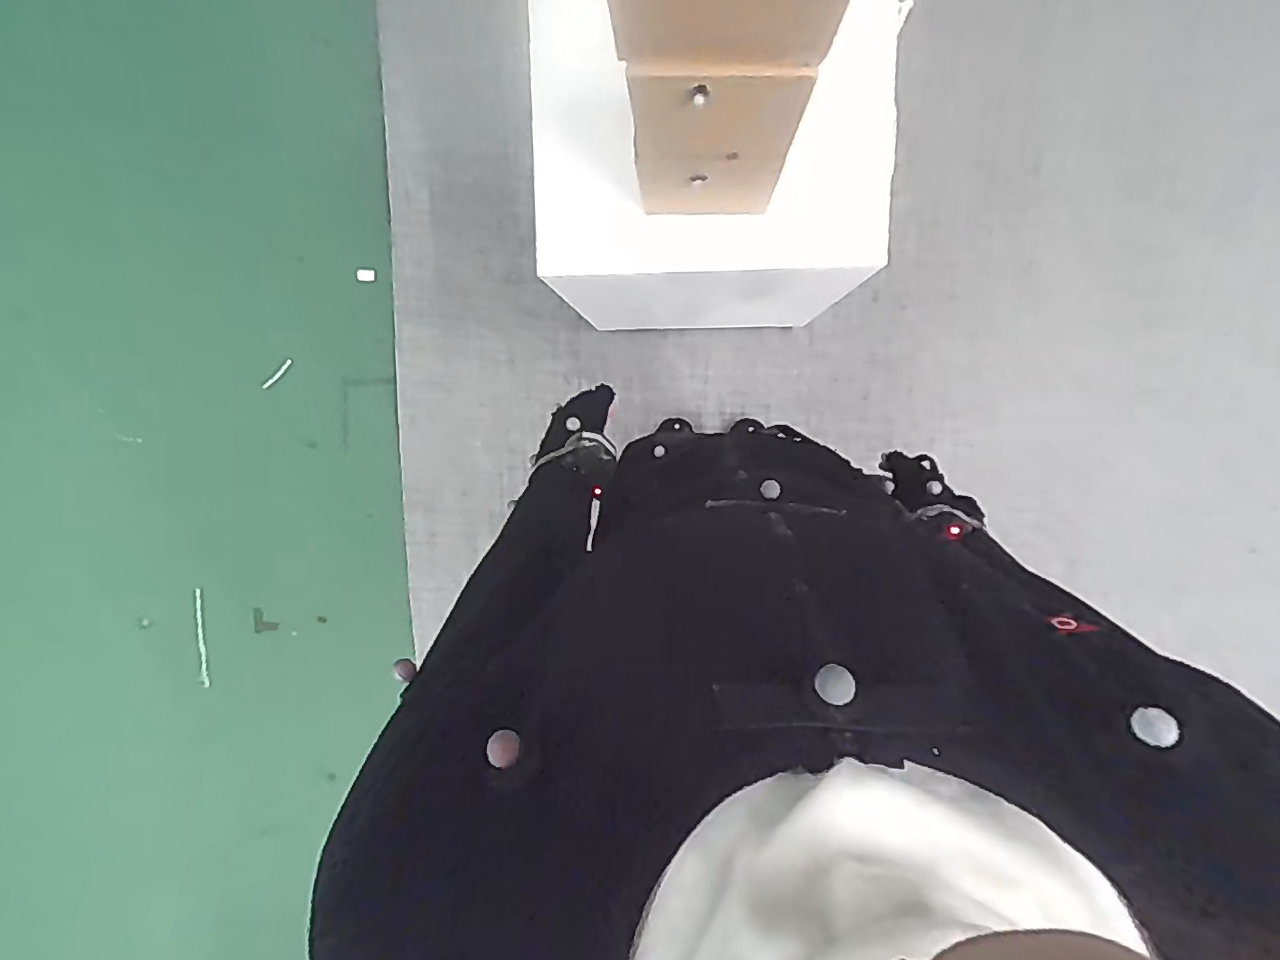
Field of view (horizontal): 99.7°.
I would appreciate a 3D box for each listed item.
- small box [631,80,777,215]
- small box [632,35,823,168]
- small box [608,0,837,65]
[{"bbox_3d":[0.086,-0.455,0.696,0.179,0.176,0.168,2,97,4],"label":"small box"},{"bbox_3d":[0.079,-0.439,0.536,0.168,0.176,0.179,1,97,4],"label":"small box"},{"bbox_3d":[0.063,-0.424,0.372,0.179,0.176,0.168,4,99,4],"label":"small box"}]
